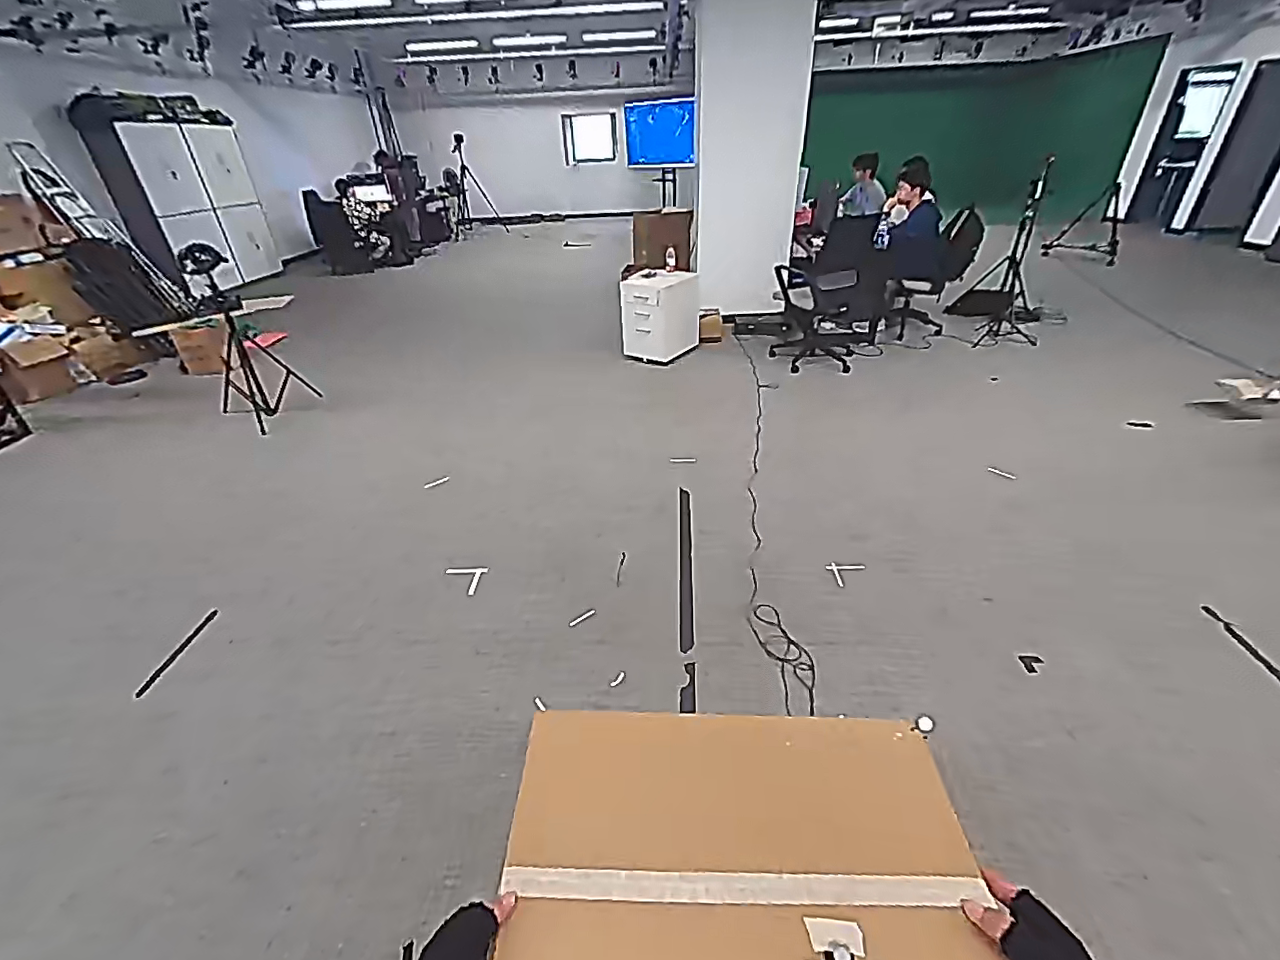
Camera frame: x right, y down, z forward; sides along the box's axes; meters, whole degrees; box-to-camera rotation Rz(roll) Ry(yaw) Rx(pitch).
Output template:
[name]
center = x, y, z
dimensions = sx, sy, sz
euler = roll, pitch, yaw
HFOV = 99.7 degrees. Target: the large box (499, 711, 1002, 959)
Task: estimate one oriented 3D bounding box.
[large box]
center = 0.086, 0.467, 0.553
dimensions = 0.408, 0.320, 0.320
euler = 1, 36, 1
